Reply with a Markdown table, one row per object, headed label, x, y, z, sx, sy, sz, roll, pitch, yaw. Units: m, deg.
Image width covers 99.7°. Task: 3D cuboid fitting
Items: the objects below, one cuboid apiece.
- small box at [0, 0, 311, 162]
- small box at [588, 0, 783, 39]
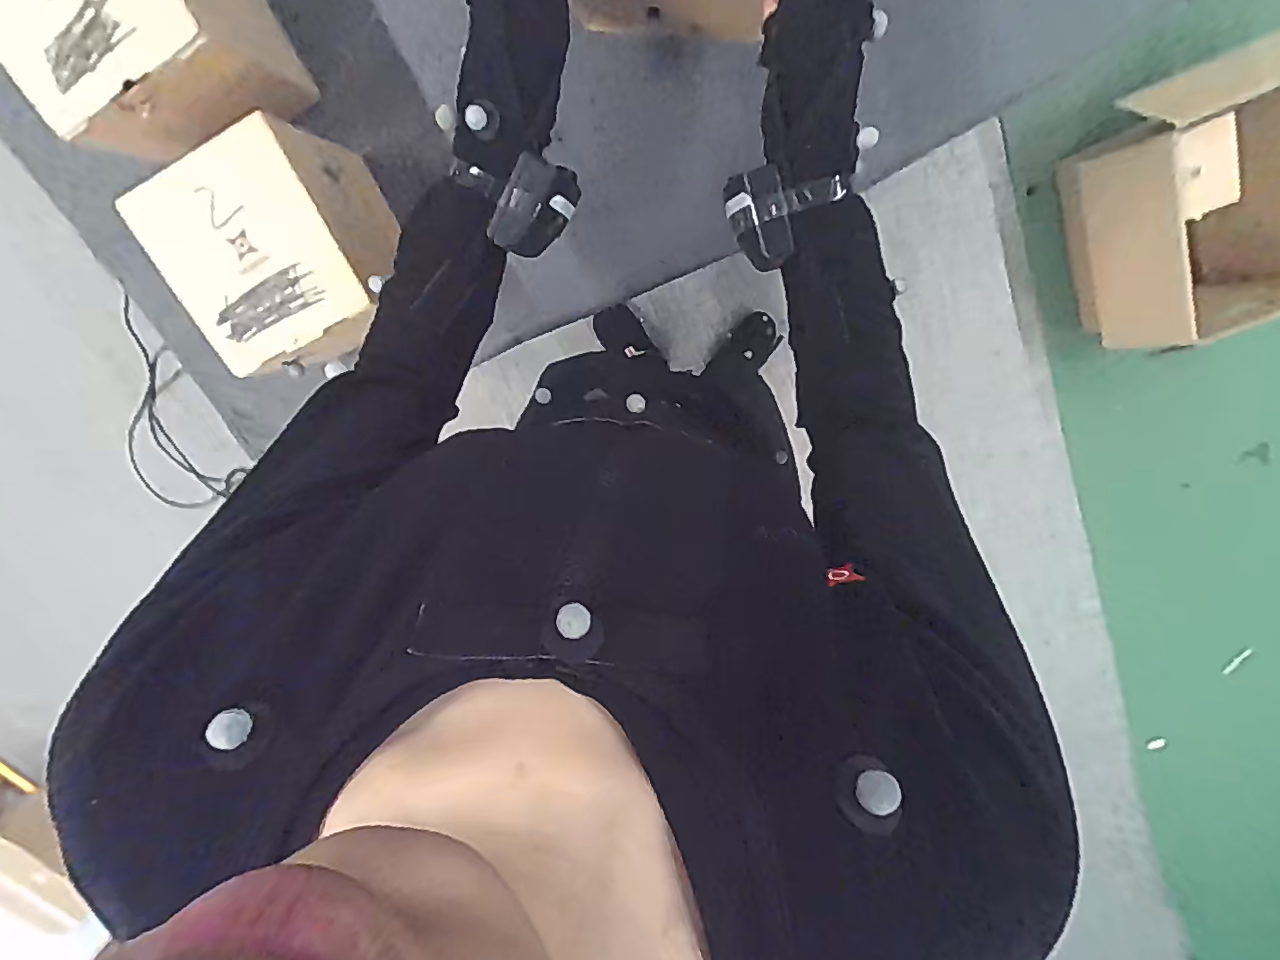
| label | x | y | z | sx | sy | sz | roll | pitch | yaw |
| --- | --- | --- | --- | --- | --- | --- | --- | --- | --- |
| small box | -0.459 | -0.424 | 0.503 | 0.168 | 0.176 | 0.179 | -25 | 108 | 10 |
| small box | 0.034 | -0.450 | 0.384 | 0.168 | 0.176 | 0.179 | 6 | 119 | 2 |
